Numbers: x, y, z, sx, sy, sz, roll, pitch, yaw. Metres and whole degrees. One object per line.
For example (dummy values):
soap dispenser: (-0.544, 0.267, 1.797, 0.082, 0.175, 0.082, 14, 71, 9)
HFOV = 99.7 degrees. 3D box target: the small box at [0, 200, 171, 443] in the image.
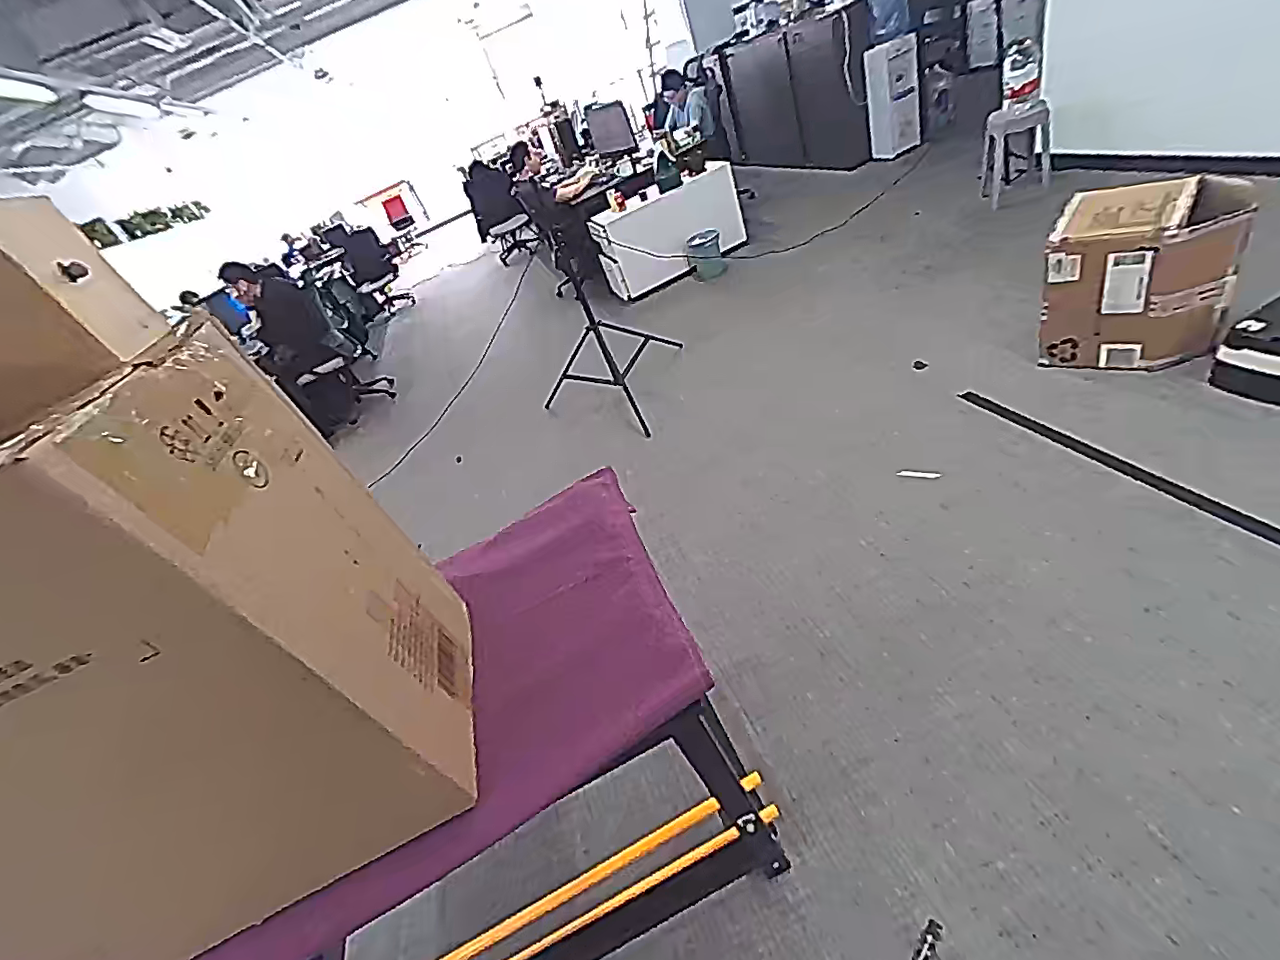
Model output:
small box: (-0.657, -0.165, 0.566, 0.179, 0.176, 0.168, -32, 36, -6)
